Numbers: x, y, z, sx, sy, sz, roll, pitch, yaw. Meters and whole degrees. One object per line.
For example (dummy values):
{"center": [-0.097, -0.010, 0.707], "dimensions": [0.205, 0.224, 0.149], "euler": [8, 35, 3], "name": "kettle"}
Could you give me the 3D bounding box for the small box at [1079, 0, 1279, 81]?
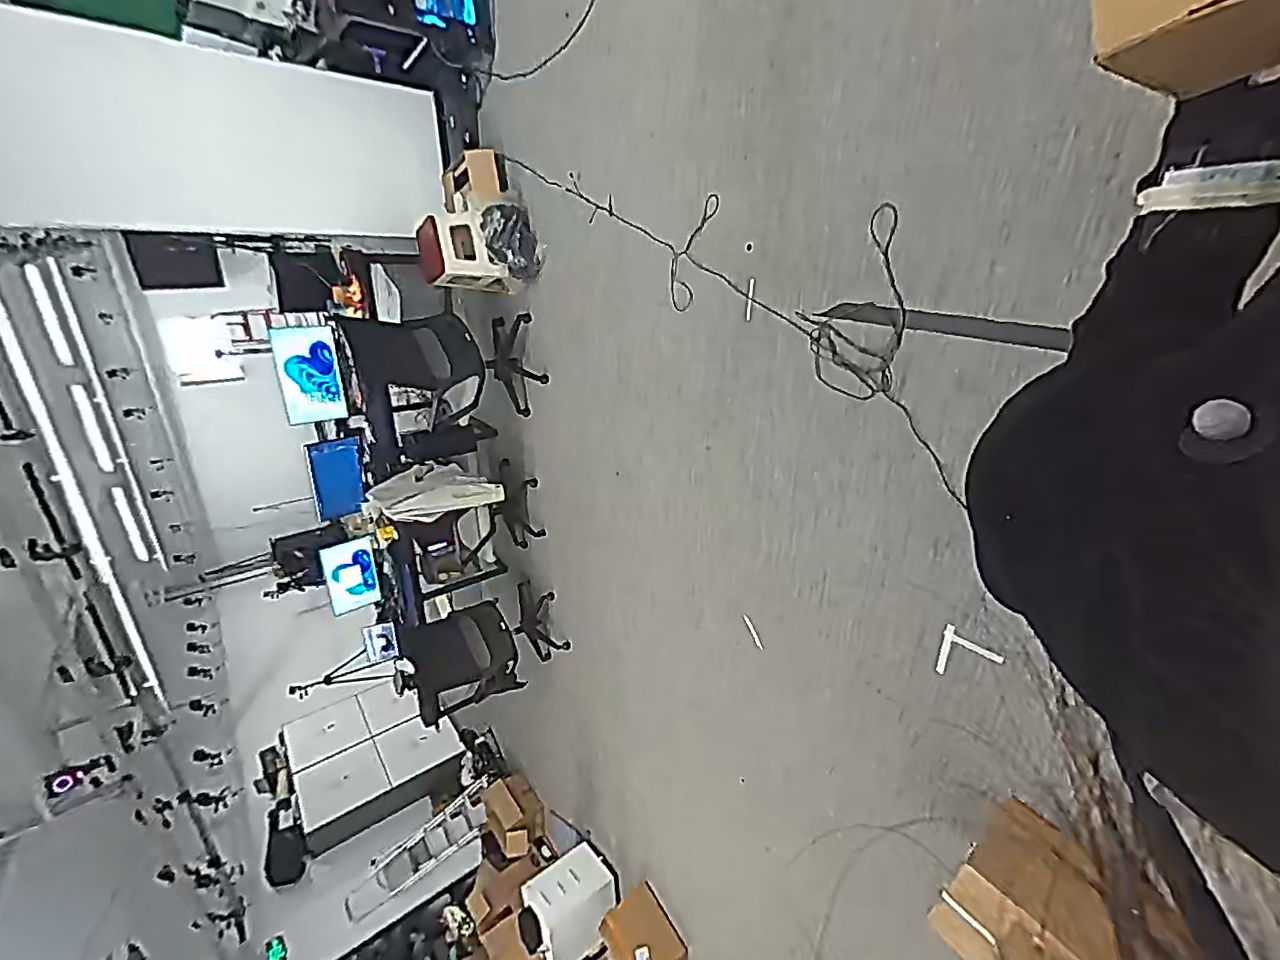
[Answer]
{"center": [0.295, -0.290, 0.208], "dimensions": [0.168, 0.176, 0.179], "euler": [3, 108, 54], "name": "small box"}
